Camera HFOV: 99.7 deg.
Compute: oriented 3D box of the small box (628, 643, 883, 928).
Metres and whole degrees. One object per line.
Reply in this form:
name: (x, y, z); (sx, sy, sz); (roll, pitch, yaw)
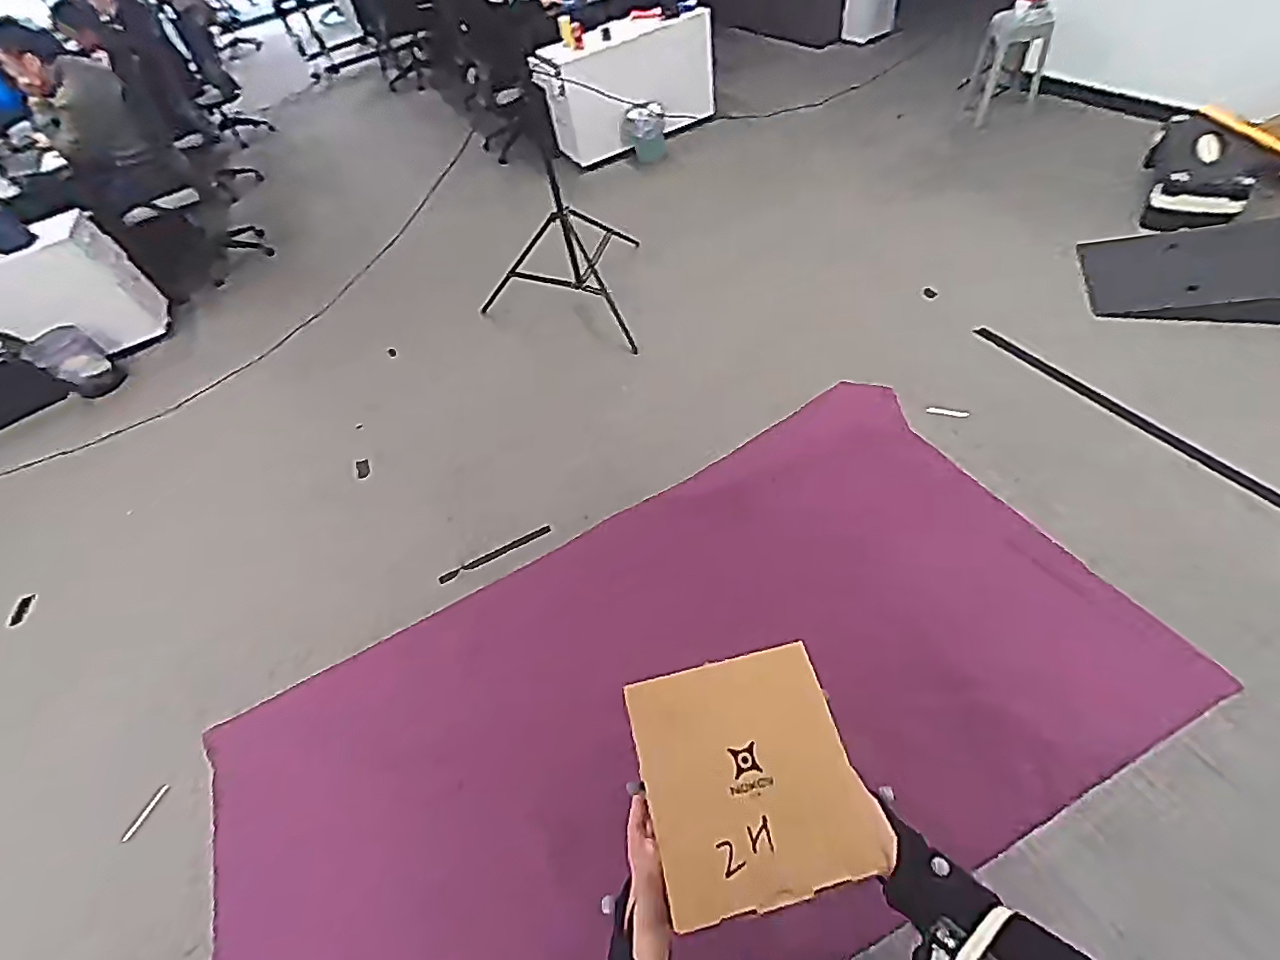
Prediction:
small box: (0.085, 0.274, 0.504); (0.168, 0.176, 0.179); (-12, 61, -5)
